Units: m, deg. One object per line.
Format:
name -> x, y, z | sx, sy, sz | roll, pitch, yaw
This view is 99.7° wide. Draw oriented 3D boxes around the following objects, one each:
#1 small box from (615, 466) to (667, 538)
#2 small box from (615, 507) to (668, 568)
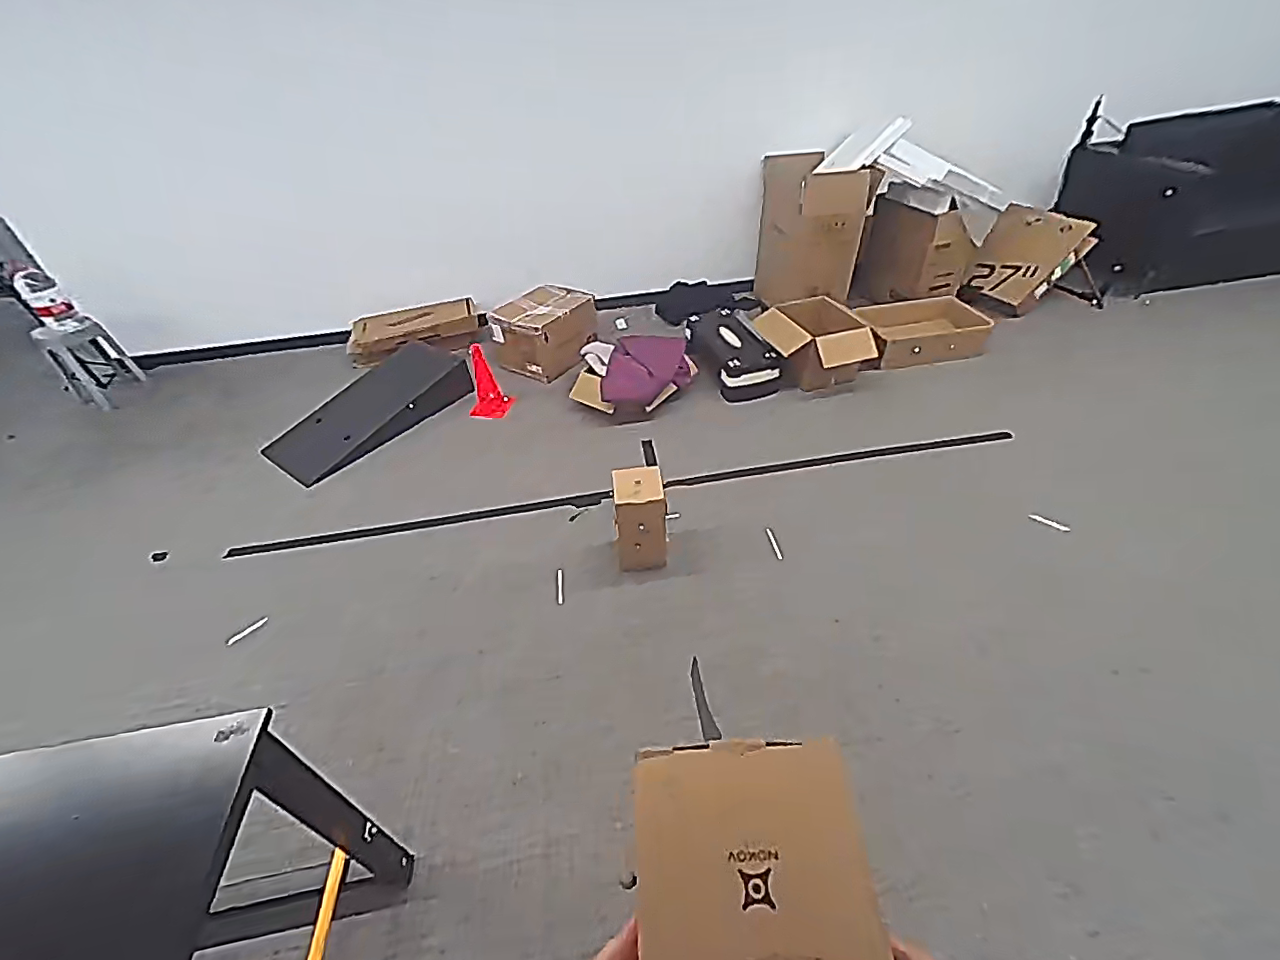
small box -> 0.002, 0.076, 1.865 | 0.168, 0.176, 0.179 | -6, 41, -1
small box -> 0.006, 0.205, 1.968 | 0.179, 0.176, 0.168 | -5, 41, -1
